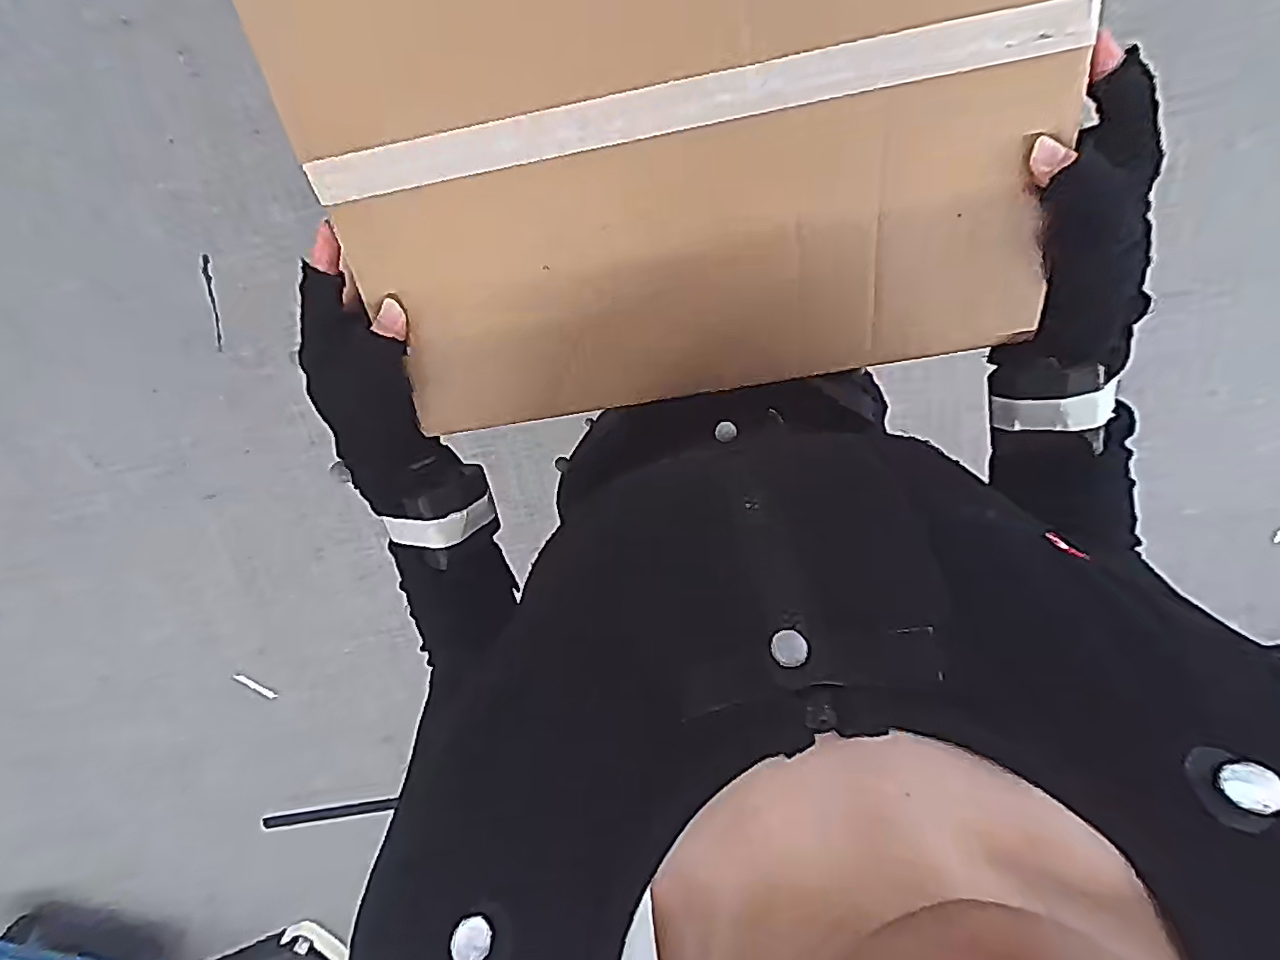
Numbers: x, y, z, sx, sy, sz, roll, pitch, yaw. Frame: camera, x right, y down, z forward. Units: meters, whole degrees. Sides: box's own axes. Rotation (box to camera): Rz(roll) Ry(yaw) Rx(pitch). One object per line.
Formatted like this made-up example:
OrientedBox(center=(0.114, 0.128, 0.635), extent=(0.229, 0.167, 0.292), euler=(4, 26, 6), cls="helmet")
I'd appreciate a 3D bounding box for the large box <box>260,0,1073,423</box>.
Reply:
OrientedBox(center=(0.019, -0.274, 0.419), extent=(0.408, 0.320, 0.320), euler=(-9, 121, 5), cls="large box")
